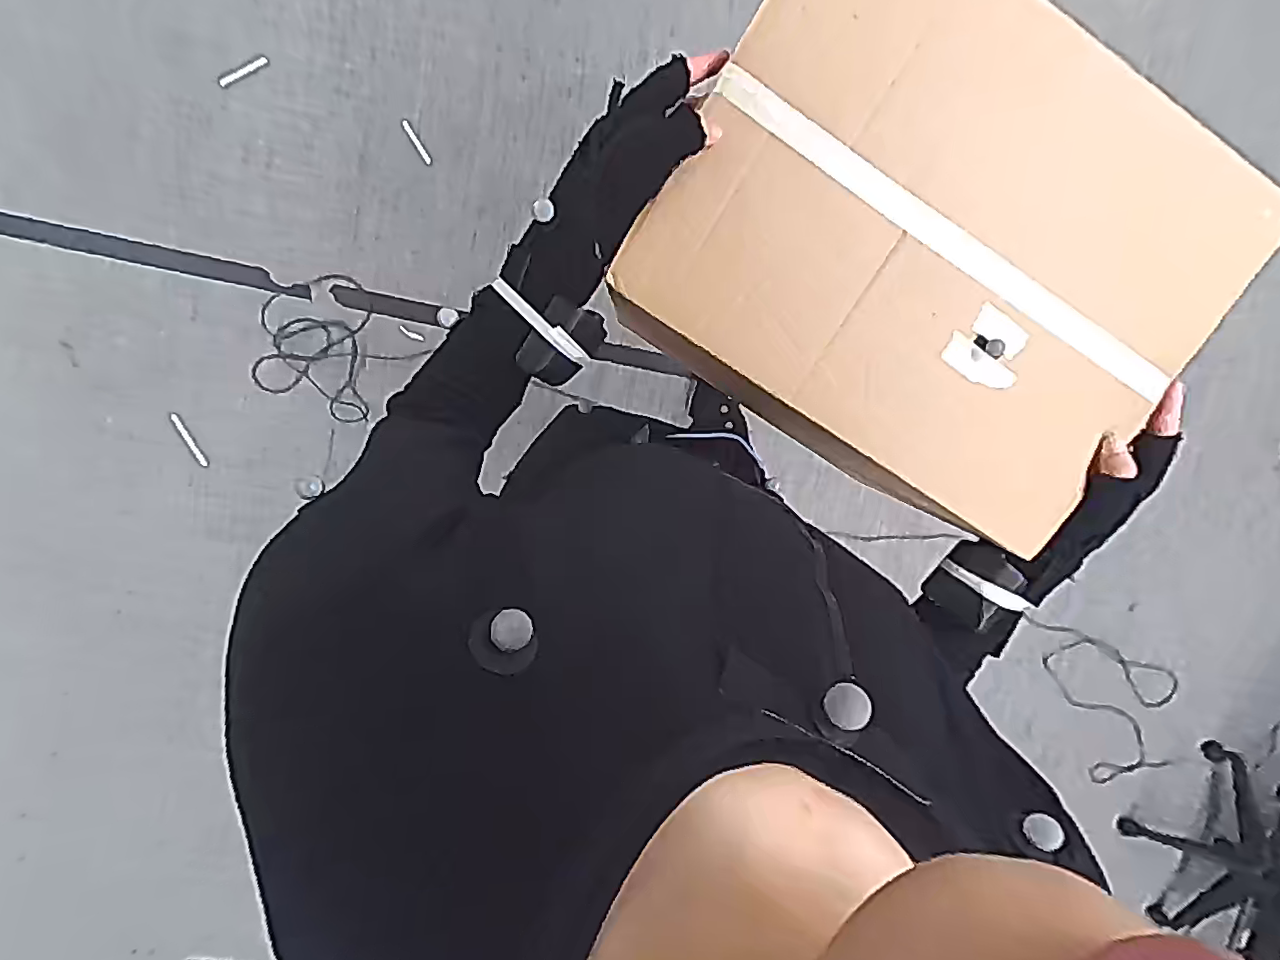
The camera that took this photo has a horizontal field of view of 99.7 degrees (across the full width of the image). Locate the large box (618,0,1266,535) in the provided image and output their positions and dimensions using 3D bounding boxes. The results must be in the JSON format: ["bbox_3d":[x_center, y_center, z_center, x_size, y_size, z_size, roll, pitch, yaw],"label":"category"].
[{"bbox_3d":[0.222,-0.207,0.553,0.408,0.320,0.320,32,100,-7],"label":"large box"}]
